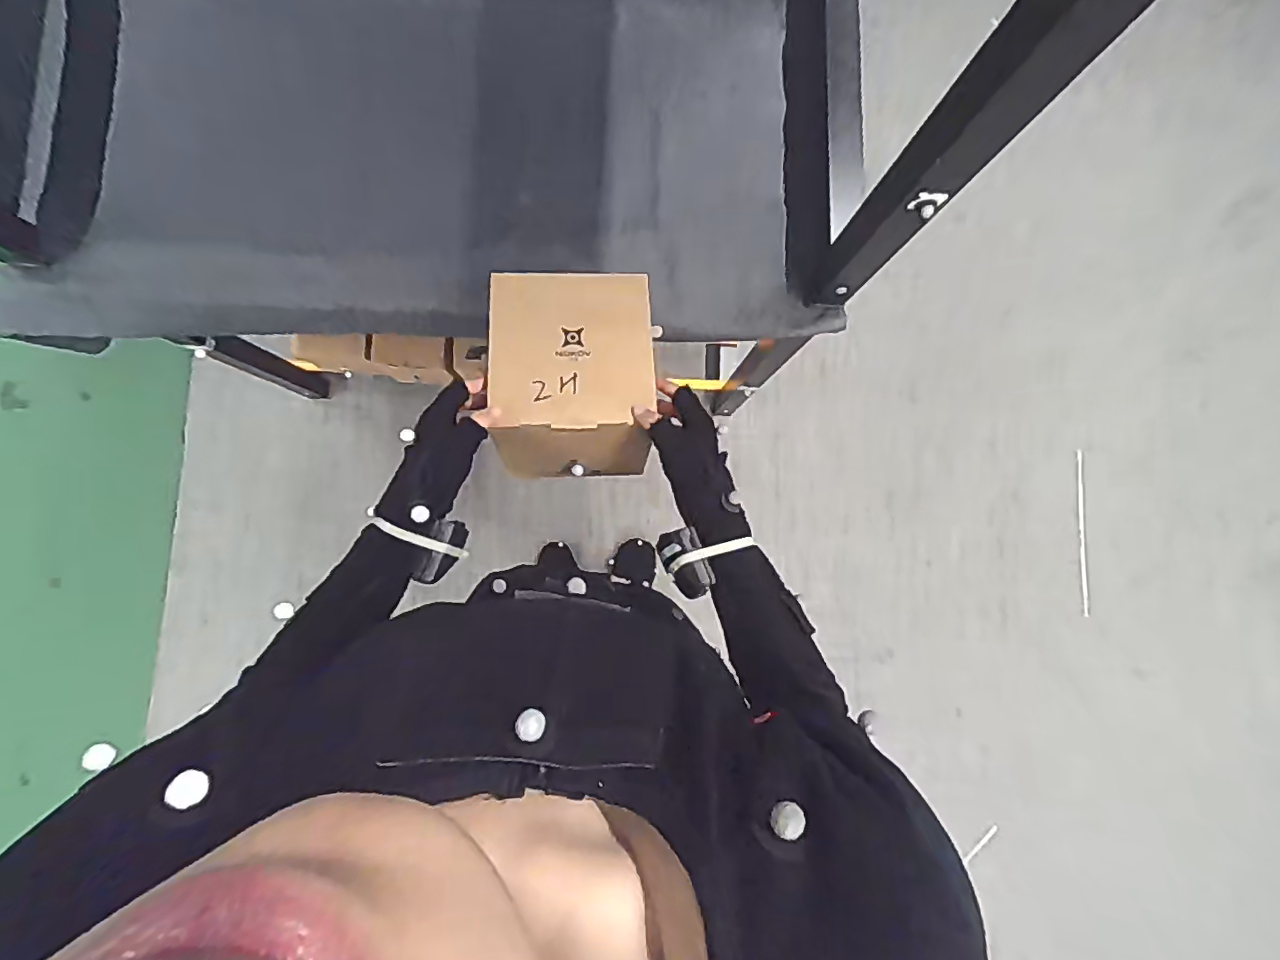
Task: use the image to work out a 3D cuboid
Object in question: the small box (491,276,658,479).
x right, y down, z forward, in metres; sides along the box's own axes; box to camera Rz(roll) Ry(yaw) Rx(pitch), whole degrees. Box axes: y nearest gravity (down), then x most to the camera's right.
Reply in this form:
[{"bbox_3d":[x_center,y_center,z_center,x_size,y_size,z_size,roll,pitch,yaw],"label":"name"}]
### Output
[{"bbox_3d":[-0.073,-0.110,0.629,0.168,0.176,0.179,-2,72,-5],"label":"small box"}]
